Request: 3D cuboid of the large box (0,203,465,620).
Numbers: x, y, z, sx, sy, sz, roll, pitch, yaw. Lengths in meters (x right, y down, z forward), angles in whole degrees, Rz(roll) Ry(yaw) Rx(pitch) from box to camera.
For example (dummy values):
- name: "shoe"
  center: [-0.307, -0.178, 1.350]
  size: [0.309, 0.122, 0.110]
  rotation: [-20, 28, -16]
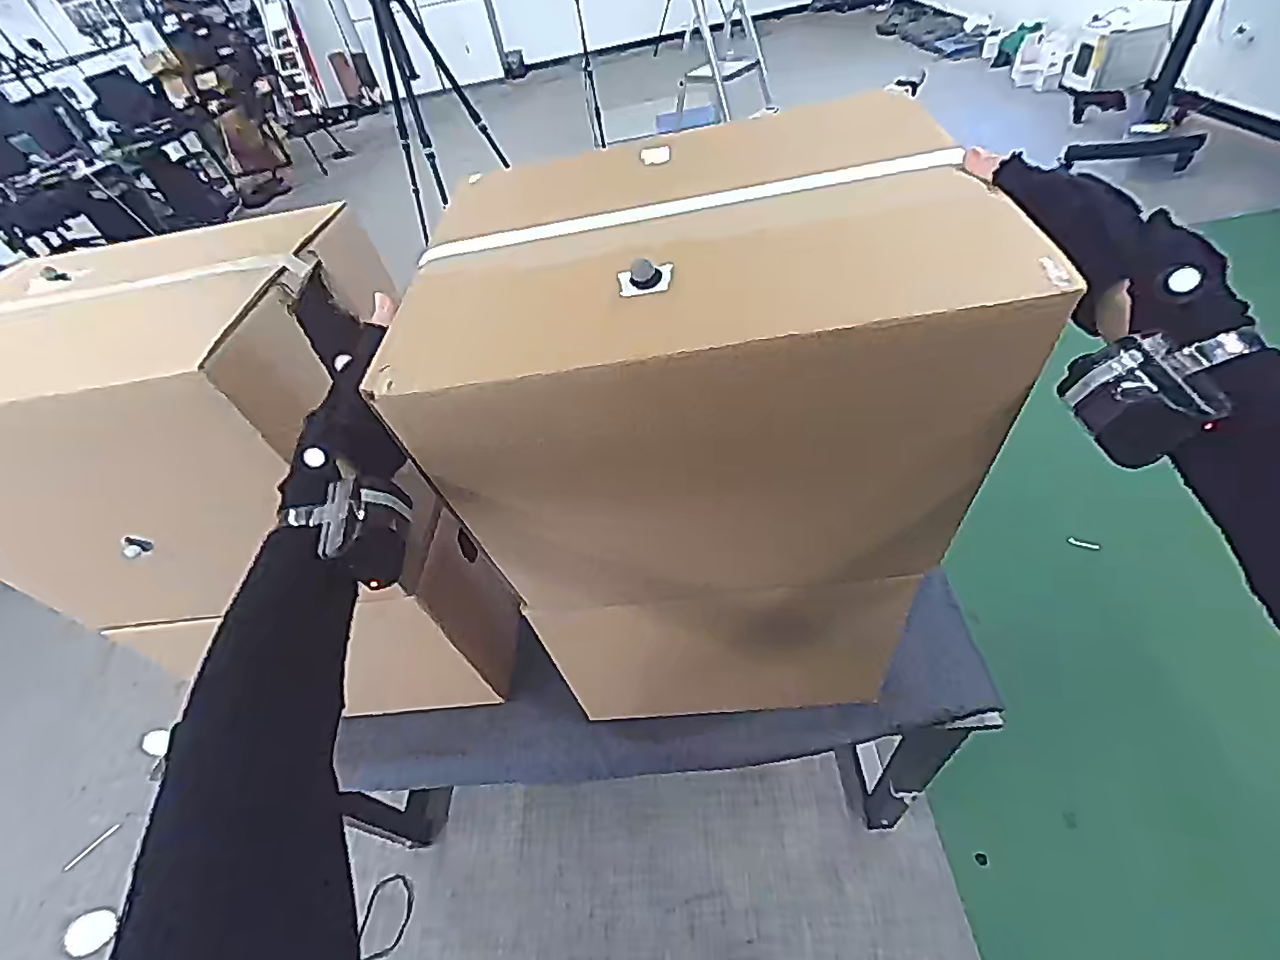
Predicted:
- name: "large box"
  center: [-0.469, -0.064, 0.617]
  size: [0.408, 0.320, 0.320]
  rotation: [-8, 46, 7]
